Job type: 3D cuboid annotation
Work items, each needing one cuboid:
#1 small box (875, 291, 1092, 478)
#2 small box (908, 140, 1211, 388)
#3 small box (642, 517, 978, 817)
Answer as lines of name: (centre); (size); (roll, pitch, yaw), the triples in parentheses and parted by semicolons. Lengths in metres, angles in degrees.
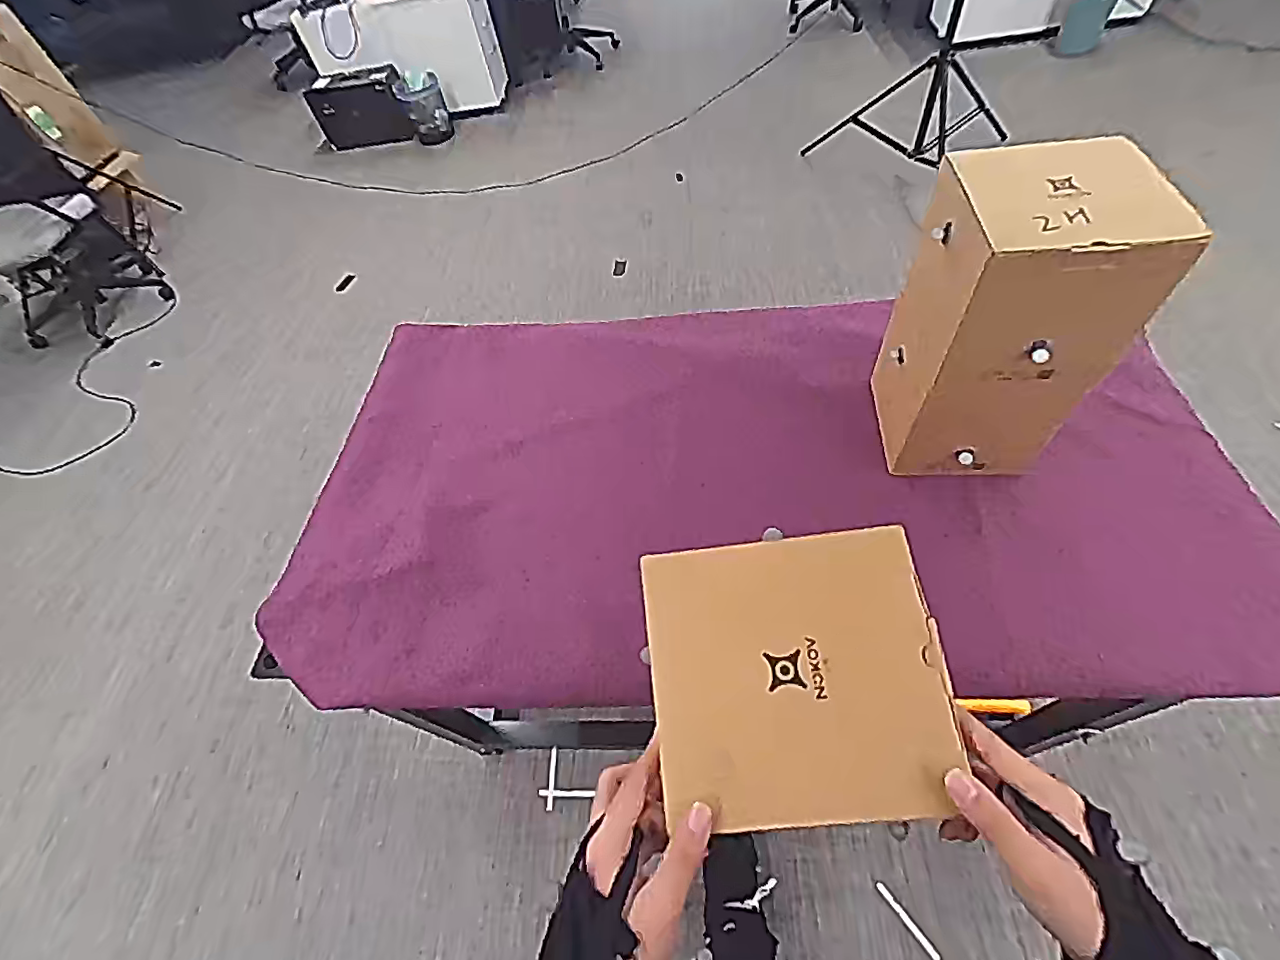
small box: (0.412, -0.121, 0.691); (0.168, 0.176, 0.179); (0, 56, 9)
small box: (0.394, -0.215, 0.555); (0.168, 0.176, 0.179); (-1, 56, 9)
small box: (0.104, 0.139, 0.404); (0.179, 0.176, 0.168); (-8, 68, 5)
